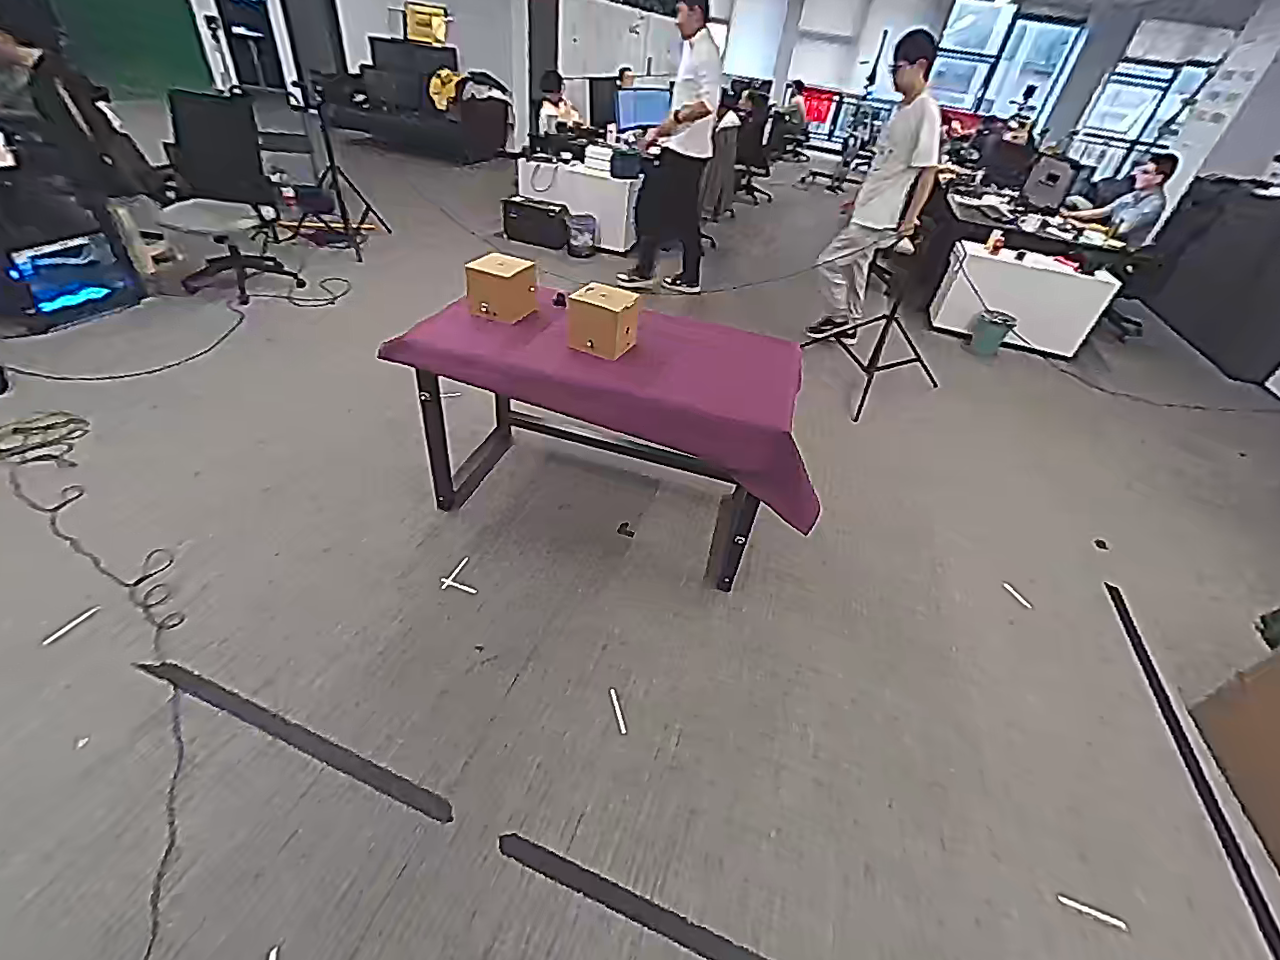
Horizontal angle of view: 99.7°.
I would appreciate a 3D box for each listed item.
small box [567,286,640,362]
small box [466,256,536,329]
[{"bbox_3d":[-0.119,-0.498,1.732,0.179,0.176,0.168,21,40,15],"label":"small box"},{"bbox_3d":[-0.468,-0.639,1.842,0.168,0.176,0.179,18,41,13],"label":"small box"}]
